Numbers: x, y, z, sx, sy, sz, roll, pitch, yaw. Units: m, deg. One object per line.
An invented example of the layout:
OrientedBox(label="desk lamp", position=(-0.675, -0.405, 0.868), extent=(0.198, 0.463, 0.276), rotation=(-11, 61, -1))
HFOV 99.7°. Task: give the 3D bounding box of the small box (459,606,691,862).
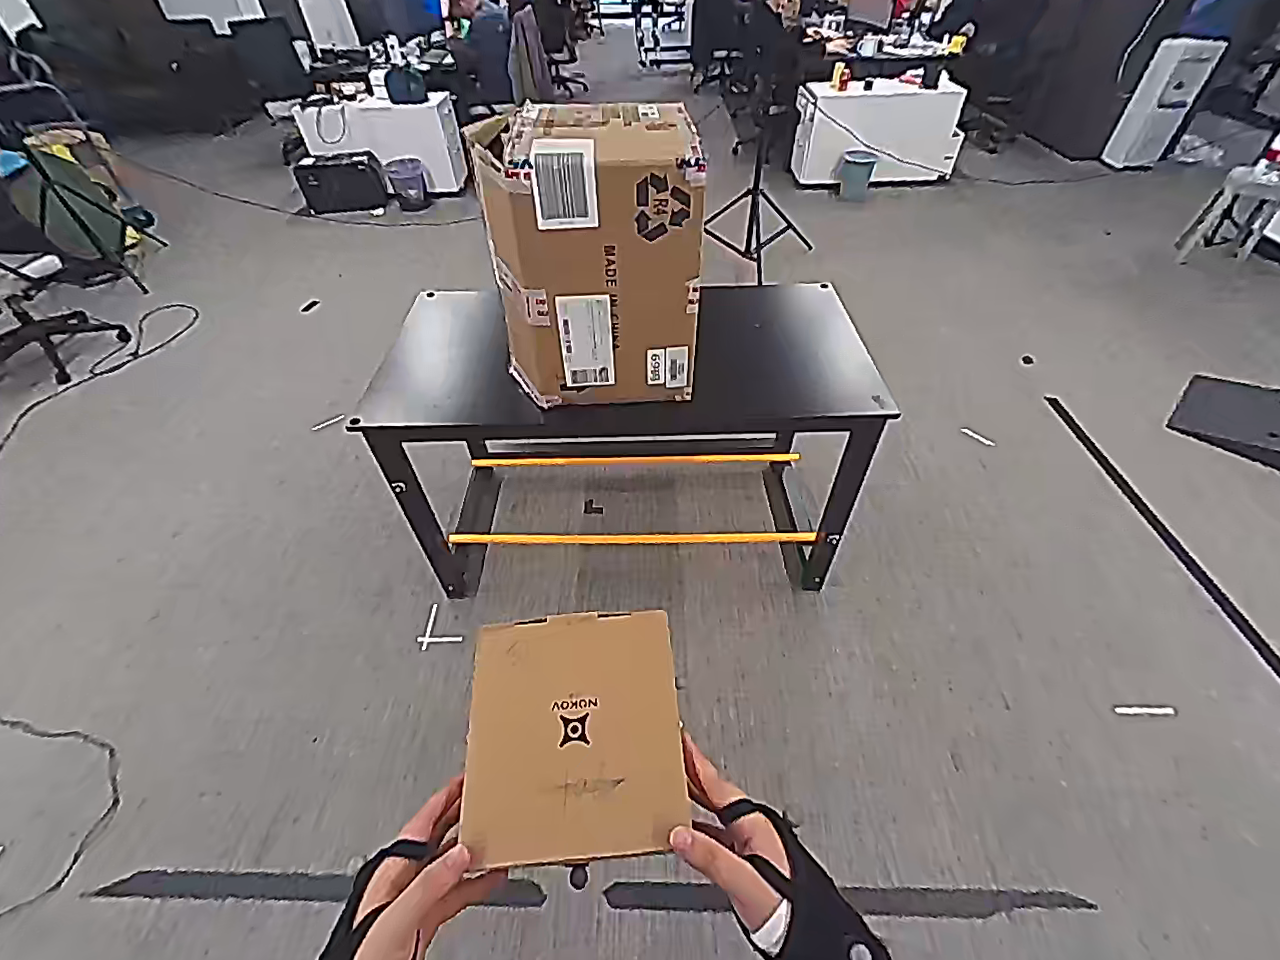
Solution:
OrientedBox(label="small box", position=(-0.050, 0.232, 0.489), extent=(0.168, 0.176, 0.179), rotation=(-5, 55, -2))
